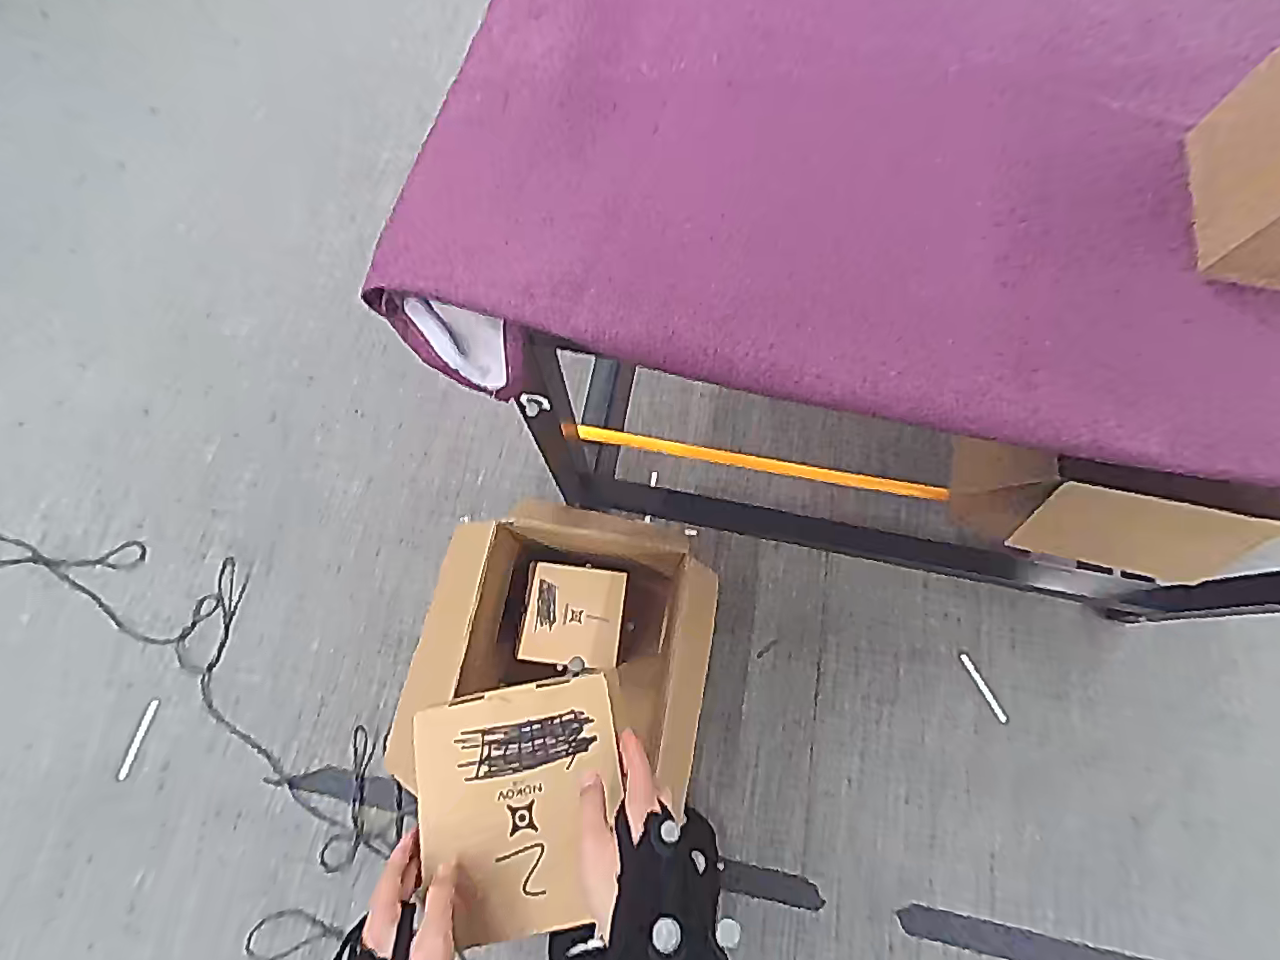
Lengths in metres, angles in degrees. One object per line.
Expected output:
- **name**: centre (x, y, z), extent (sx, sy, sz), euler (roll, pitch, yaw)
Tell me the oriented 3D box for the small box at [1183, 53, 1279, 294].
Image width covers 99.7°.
- **small box**: centre (0.601, -0.272, 0.438), extent (0.168, 0.176, 0.179), euler (13, 72, 5)
